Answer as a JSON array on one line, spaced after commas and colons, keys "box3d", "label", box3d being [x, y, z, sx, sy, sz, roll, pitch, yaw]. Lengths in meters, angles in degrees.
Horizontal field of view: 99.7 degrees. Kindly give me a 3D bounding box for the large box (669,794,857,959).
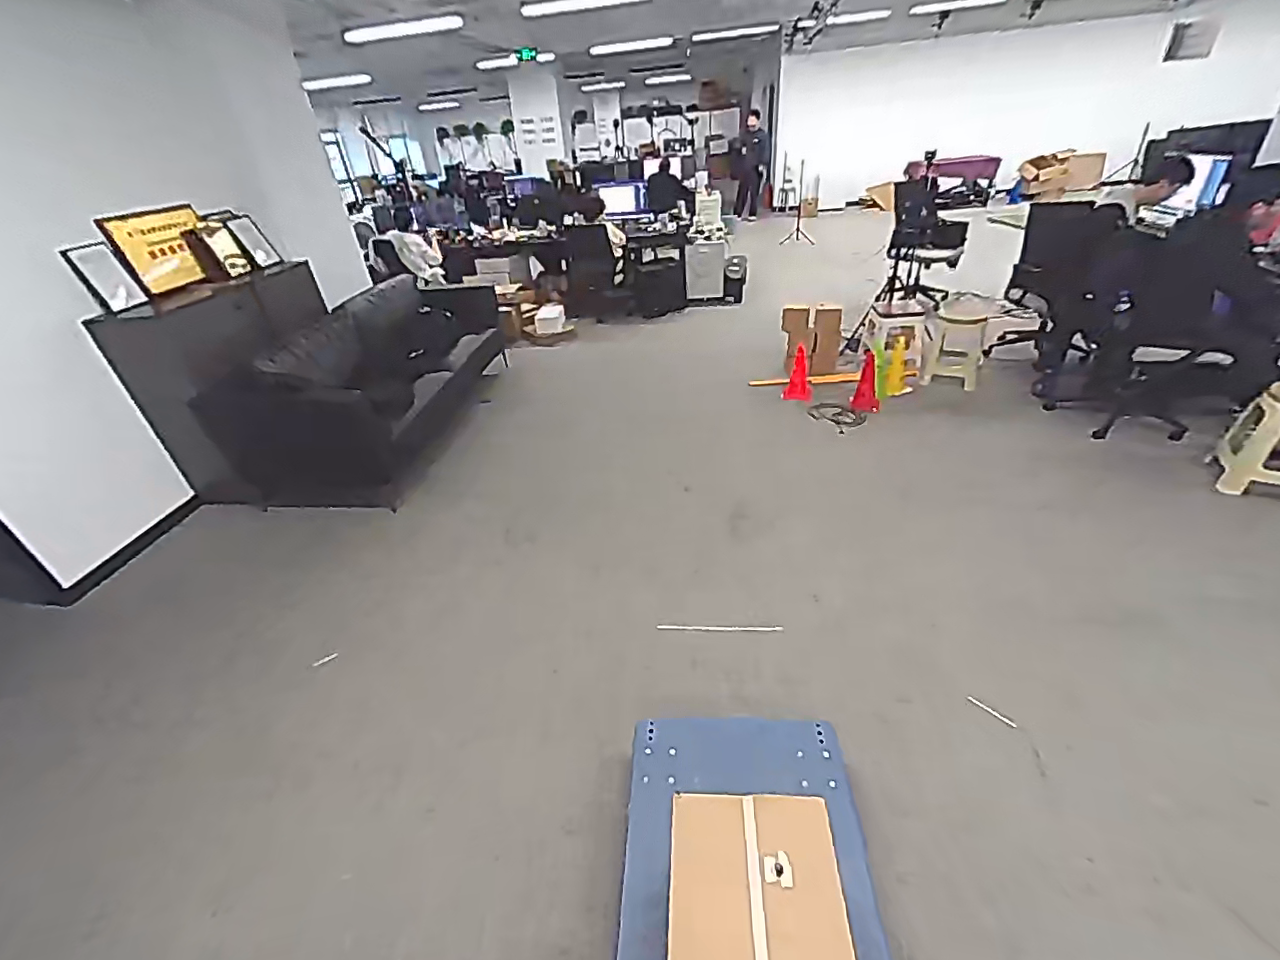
[{"box3d": [0.225, 0.889, 1.035, 0.320, 0.320, 0.408, -2, 32, 7], "label": "large box"}]
